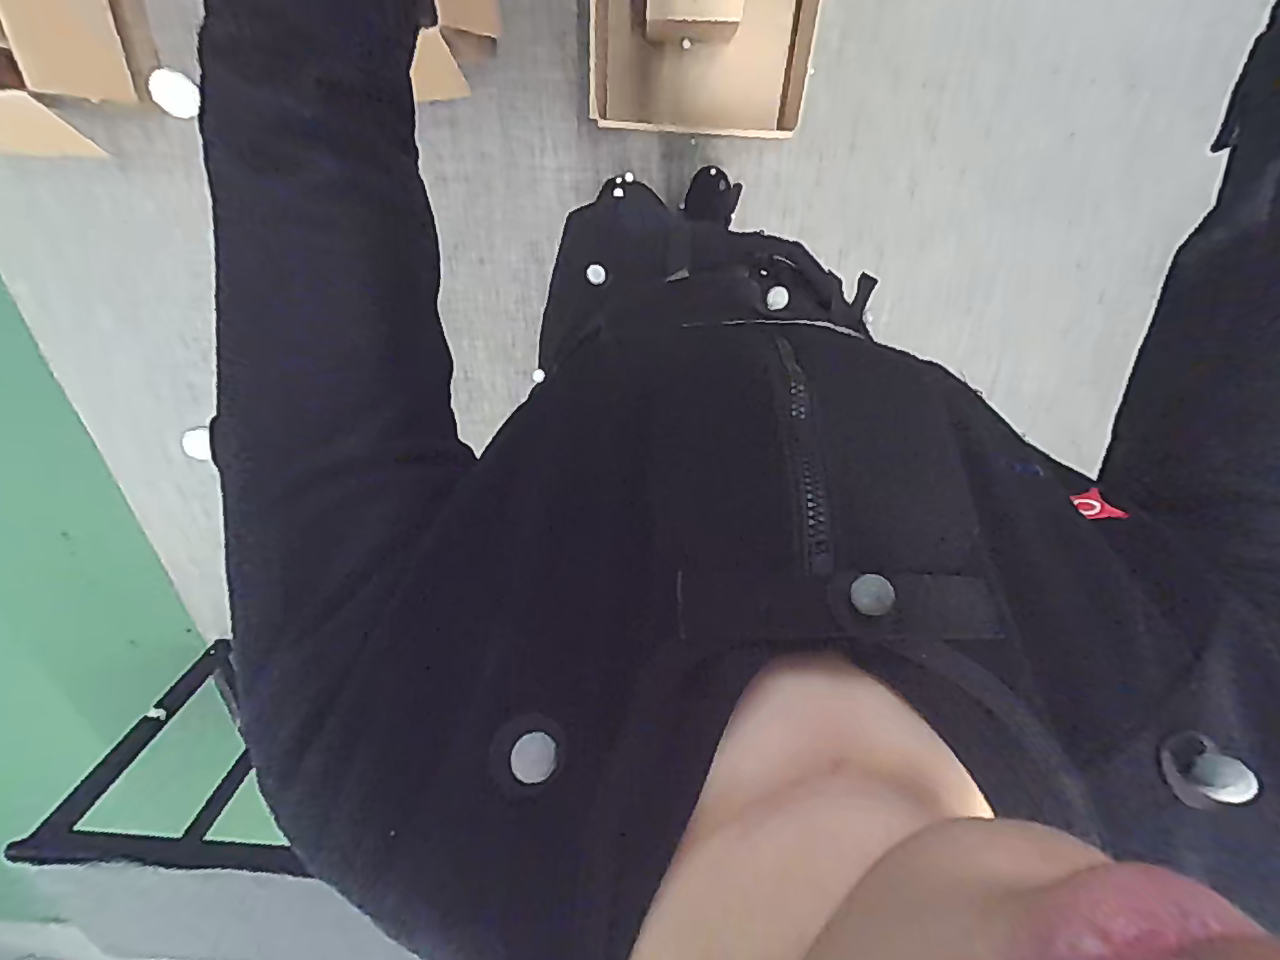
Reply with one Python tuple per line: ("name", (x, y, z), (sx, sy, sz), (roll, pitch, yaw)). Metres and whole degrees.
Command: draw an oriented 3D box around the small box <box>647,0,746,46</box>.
("small box", (0.098, -0.890, 0.941), (0.168, 0.176, 0.179), (2, 119, 1))
